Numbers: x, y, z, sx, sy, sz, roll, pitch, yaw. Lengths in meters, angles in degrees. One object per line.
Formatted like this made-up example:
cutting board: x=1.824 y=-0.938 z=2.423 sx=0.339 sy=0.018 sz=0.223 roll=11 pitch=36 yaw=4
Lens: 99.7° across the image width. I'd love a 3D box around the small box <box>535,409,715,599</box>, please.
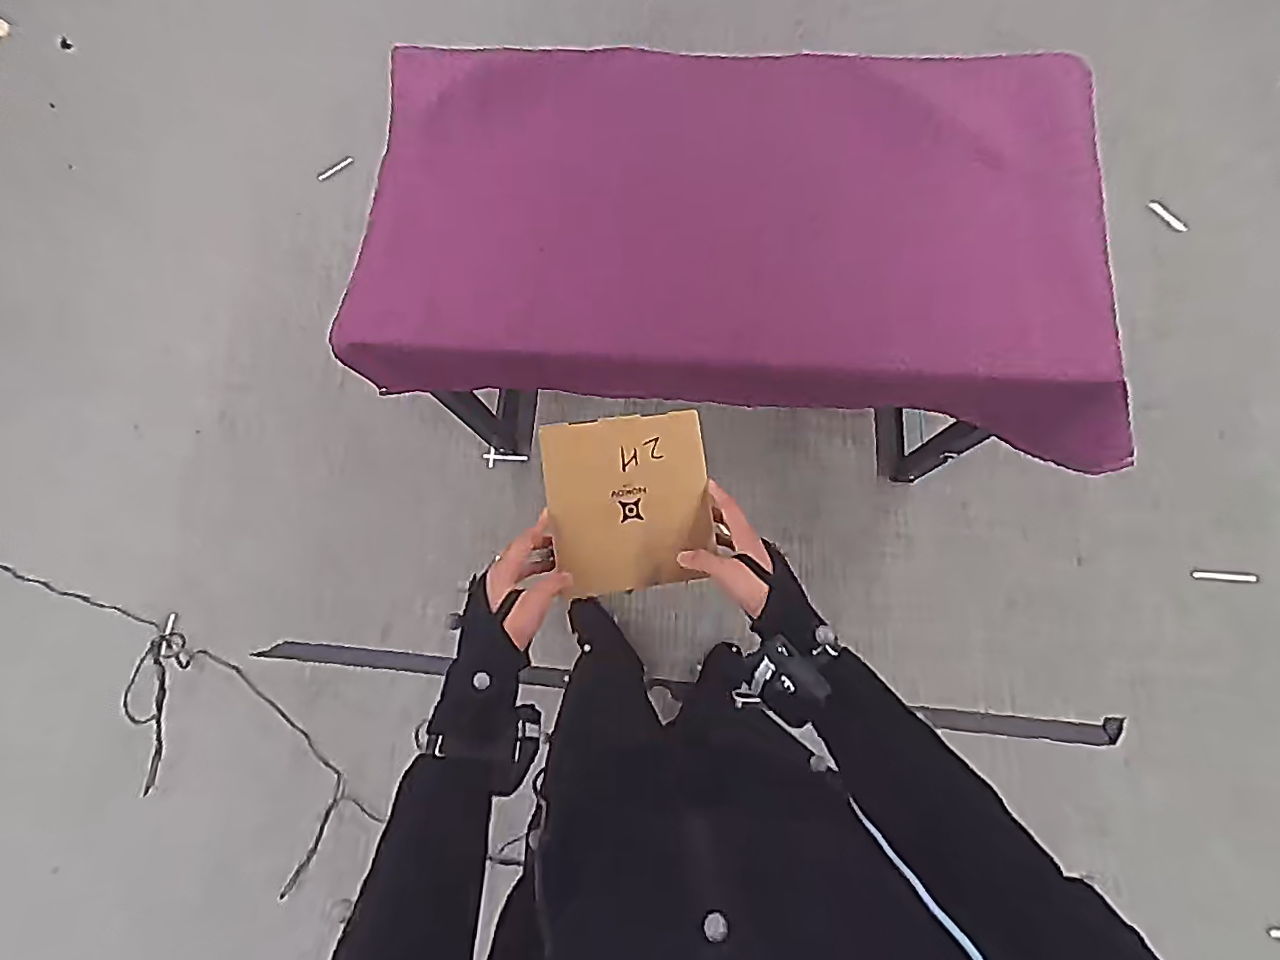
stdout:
small box: x=-0.024 y=0.025 z=0.617 sx=0.168 sy=0.176 sz=0.179 roll=-7 pitch=87 yaw=-9
